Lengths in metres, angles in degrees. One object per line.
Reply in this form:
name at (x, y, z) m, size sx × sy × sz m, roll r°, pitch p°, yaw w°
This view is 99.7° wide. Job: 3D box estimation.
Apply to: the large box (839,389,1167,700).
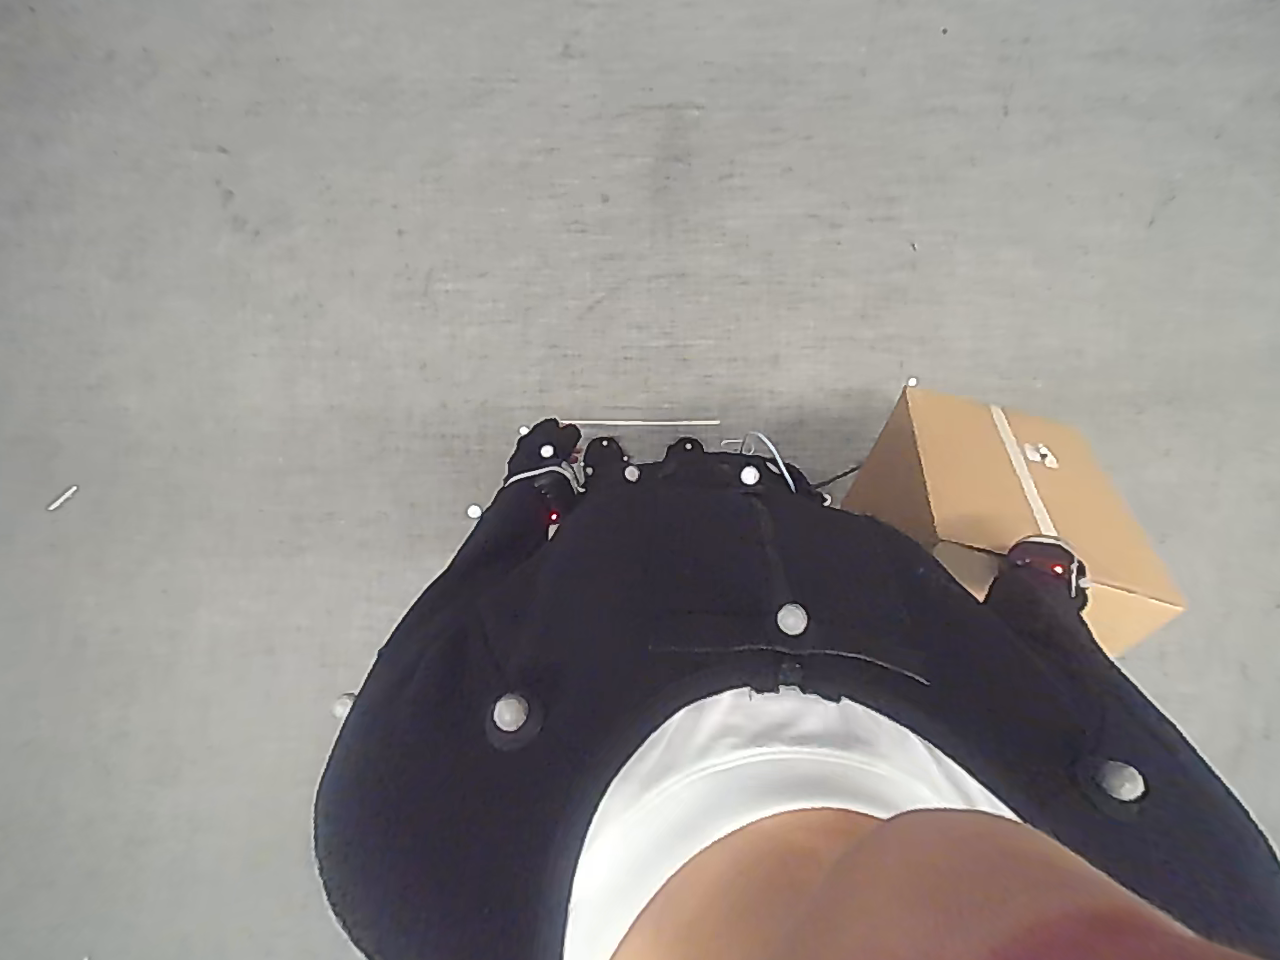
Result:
large box at (0.561, 0.100, 0.952) m, size 0.320 × 0.408 × 0.320 m, roll 16°, pitch 132°, yaw 5°
